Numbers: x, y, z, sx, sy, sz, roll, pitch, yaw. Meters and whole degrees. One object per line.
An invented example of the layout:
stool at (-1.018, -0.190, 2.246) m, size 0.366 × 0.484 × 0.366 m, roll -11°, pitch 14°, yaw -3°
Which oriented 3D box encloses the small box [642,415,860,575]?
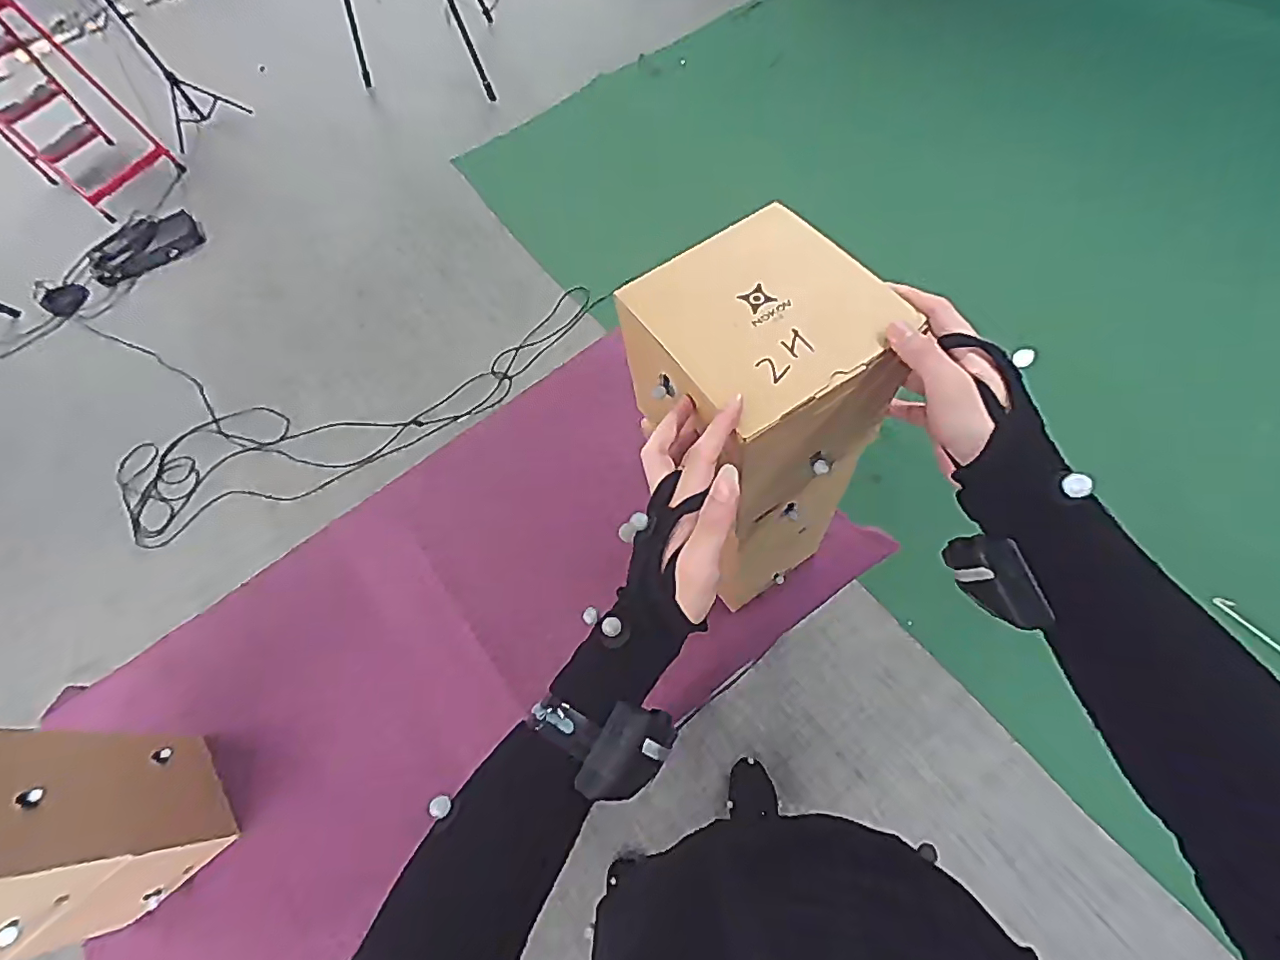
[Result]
small box at (0.124, -0.015, 0.648) m, size 0.168 × 0.176 × 0.179 m, roll -34°, pitch 63°, yaw -7°

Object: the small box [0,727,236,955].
small box at (-0.695, 0.459, 0.717) m, size 0.168 × 0.176 × 0.179 m, roll -39°, pitch 66°, yaw -11°

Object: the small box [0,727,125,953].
small box at (-0.715, 0.387, 0.572) m, size 0.168 × 0.176 × 0.179 m, roll -40°, pitch 66°, yaw -11°

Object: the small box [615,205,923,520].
small box at (0.099, -0.095, 0.480) m, size 0.168 × 0.176 × 0.179 m, roll -32°, pitch 64°, yaw -8°
